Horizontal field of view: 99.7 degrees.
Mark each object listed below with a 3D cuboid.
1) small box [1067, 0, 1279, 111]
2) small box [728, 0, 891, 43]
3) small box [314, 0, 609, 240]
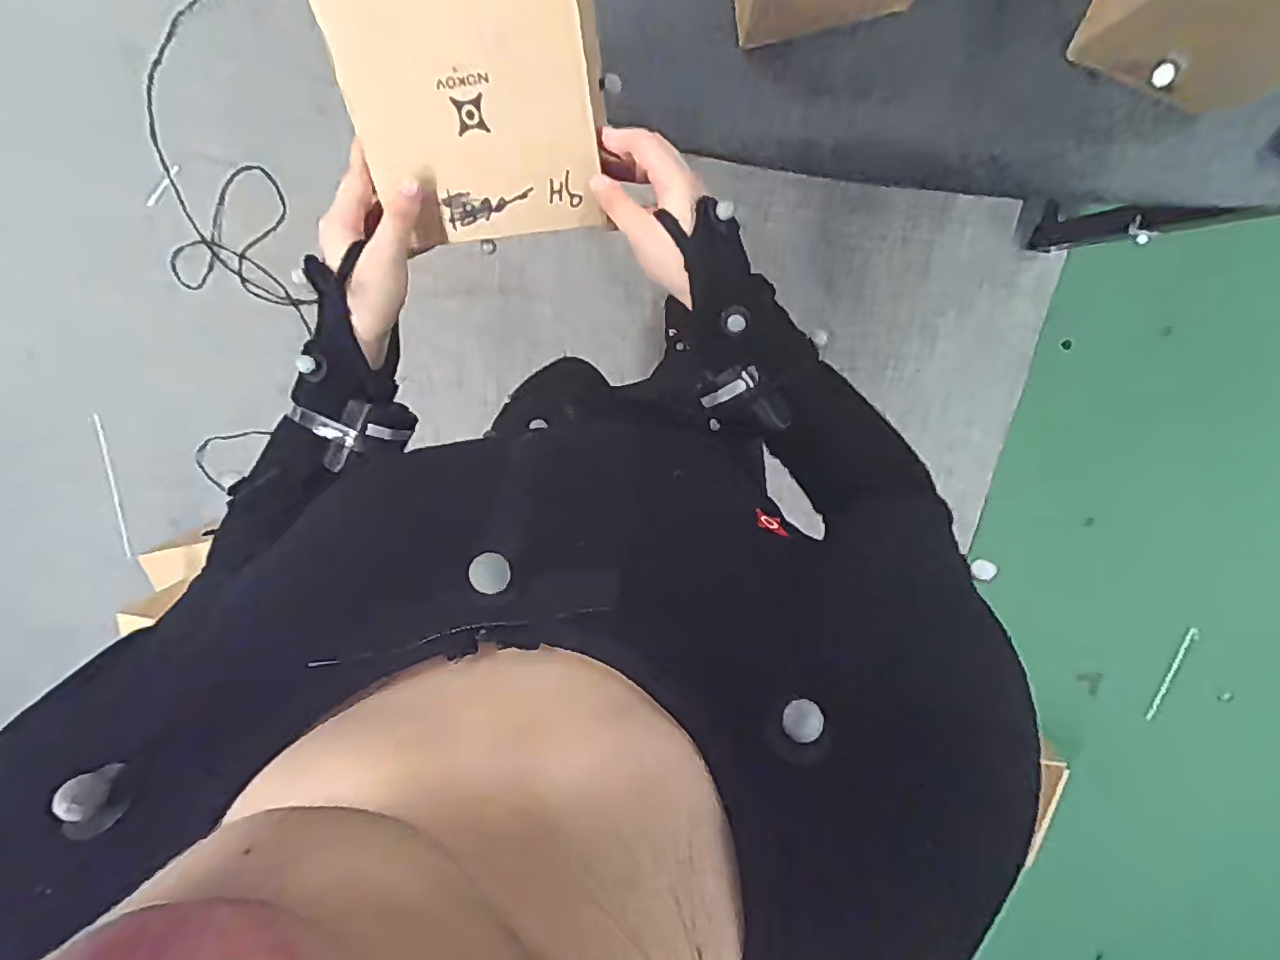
[{"bbox_3d":[0.530,-0.466,0.463,0.168,0.176,0.179,22,108,-1],"label":"small box"},{"bbox_3d":[0.164,-0.531,0.477,0.179,0.176,0.168,-9,107,6],"label":"small box"},{"bbox_3d":[-0.120,-0.311,0.435,0.168,0.176,0.179,-6,125,4],"label":"small box"}]
